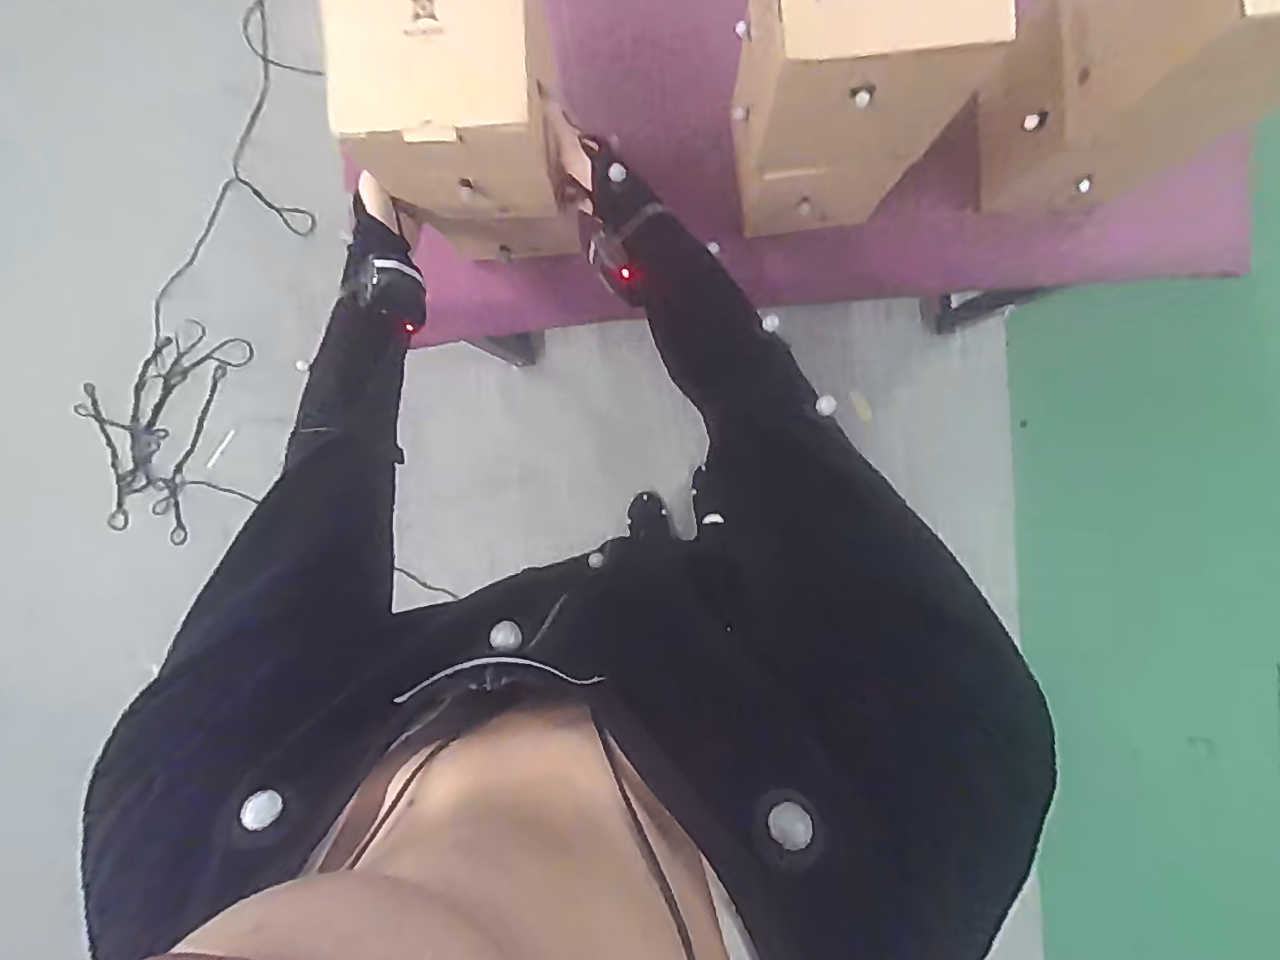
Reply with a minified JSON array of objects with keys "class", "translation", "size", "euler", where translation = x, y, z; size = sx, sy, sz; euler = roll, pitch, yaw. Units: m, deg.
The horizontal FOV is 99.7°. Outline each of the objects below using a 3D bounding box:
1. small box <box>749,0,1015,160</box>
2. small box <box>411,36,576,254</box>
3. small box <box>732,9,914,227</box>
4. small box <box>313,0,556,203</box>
[{"class":"small box","translation":[0.195,-0.415,0.486],"size":[0.179,0.176,0.168],"euler":[-3,92,3]},{"class":"small box","translation":[-0.175,-0.400,0.669],"size":[0.168,0.176,0.179],"euler":[-4,95,1]},{"class":"small box","translation":[0.206,-0.425,0.650],"size":[0.168,0.176,0.179],"euler":[-6,92,4]},{"class":"small box","translation":[-0.174,-0.377,0.506],"size":[0.168,0.176,0.179],"euler":[-1,95,1]}]
